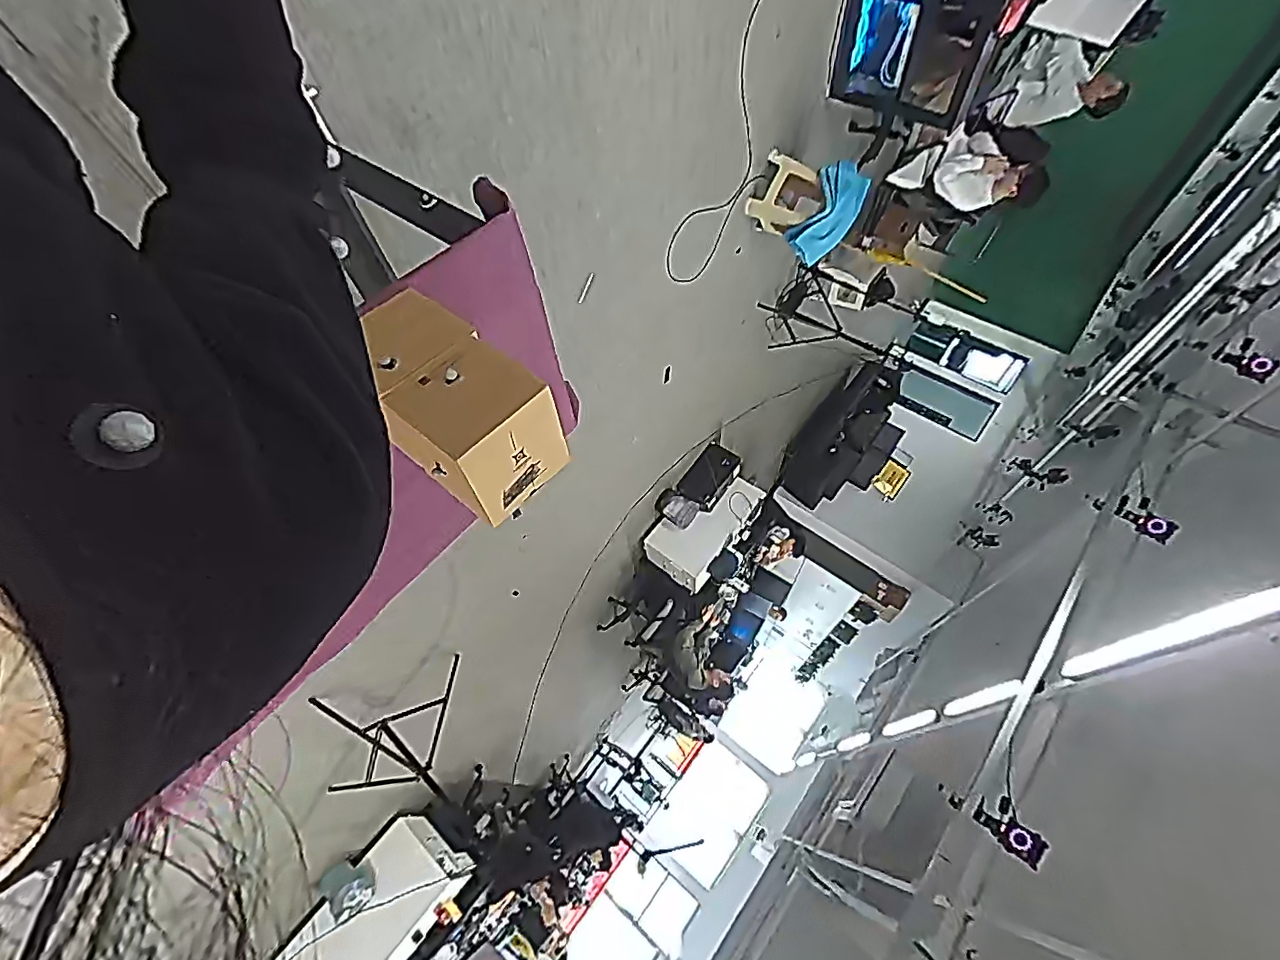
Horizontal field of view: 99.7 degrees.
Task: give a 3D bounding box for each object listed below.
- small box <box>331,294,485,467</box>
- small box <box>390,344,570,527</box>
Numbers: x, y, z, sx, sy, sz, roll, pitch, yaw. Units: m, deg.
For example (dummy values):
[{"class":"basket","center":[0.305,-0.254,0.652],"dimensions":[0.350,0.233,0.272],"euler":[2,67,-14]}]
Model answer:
[{"class":"small box","center":[-0.354,-0.161,0.861],"dimensions":[0.179,0.176,0.168],"euler":[-45,156,-25]},{"class":"small box","center":[-0.230,-0.068,0.805],"dimensions":[0.168,0.176,0.179],"euler":[-45,154,-24]}]
